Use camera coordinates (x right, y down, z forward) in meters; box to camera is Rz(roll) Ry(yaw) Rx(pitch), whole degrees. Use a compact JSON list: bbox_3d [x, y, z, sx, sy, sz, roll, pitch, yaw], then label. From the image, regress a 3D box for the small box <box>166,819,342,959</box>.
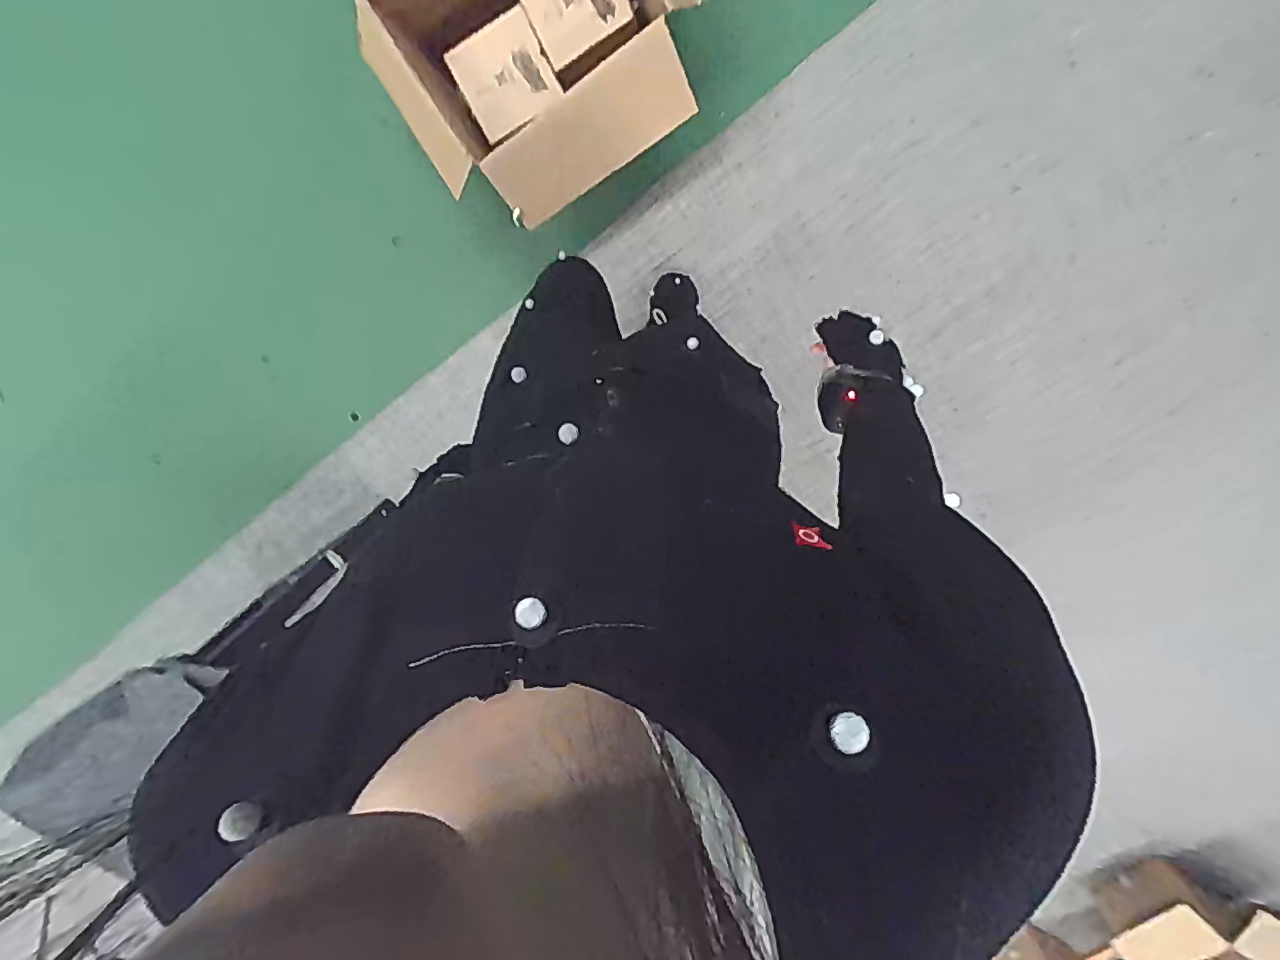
[{"bbox_3d":[-0.712,0.790,1.021,0.179,0.176,0.168,-31,110,14],"label":"small box"}]
